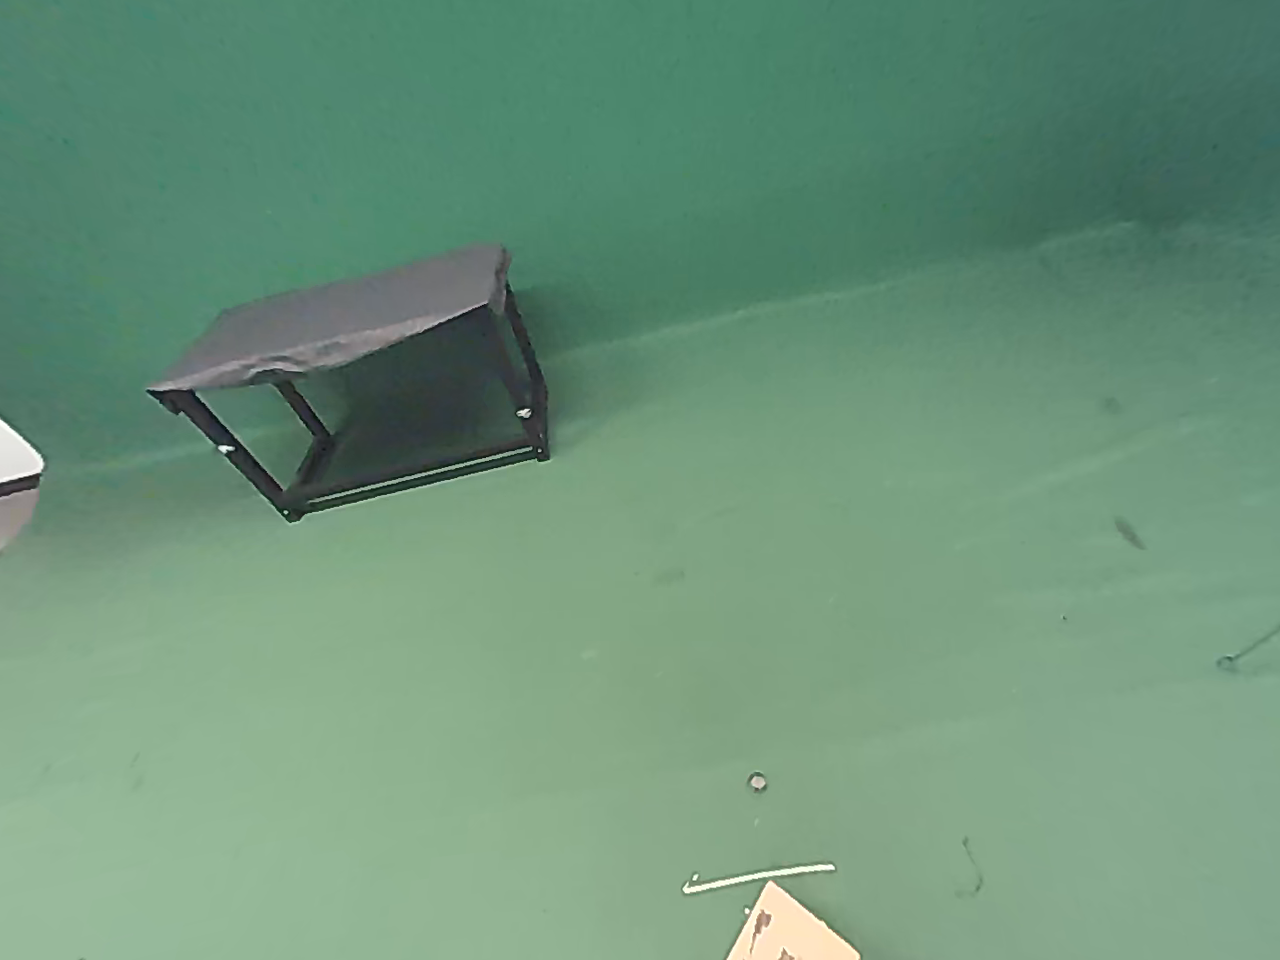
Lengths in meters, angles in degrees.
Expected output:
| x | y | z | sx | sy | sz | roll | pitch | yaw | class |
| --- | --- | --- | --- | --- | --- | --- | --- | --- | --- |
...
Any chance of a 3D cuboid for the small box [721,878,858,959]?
| x | y | z | sx | sy | sz | roll | pitch | yaw | class |
| --- | --- | --- | --- | --- | --- | --- | --- | --- | --- |
| 0.261 | 0.860 | 0.956 | 0.179 | 0.176 | 0.168 | 24 | 54 | 34 | small box |
